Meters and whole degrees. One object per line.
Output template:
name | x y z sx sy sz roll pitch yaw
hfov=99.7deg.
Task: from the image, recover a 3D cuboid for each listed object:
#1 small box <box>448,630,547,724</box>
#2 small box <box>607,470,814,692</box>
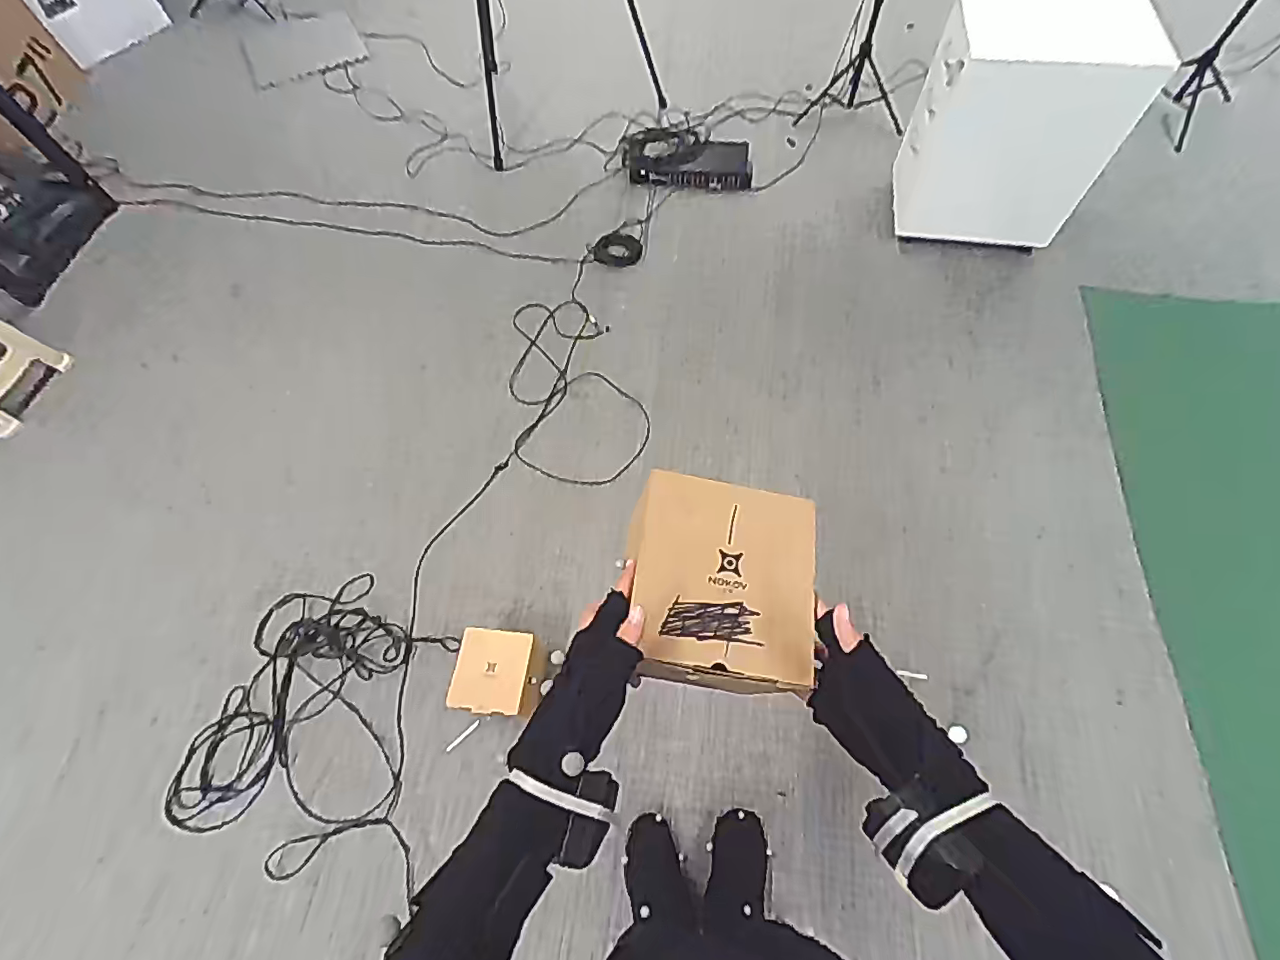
small box | -0.326 0.470 1.281 0.168 0.176 0.179 5 63 6
small box | 0.064 0.114 0.556 0.168 0.176 0.179 12 65 -5
